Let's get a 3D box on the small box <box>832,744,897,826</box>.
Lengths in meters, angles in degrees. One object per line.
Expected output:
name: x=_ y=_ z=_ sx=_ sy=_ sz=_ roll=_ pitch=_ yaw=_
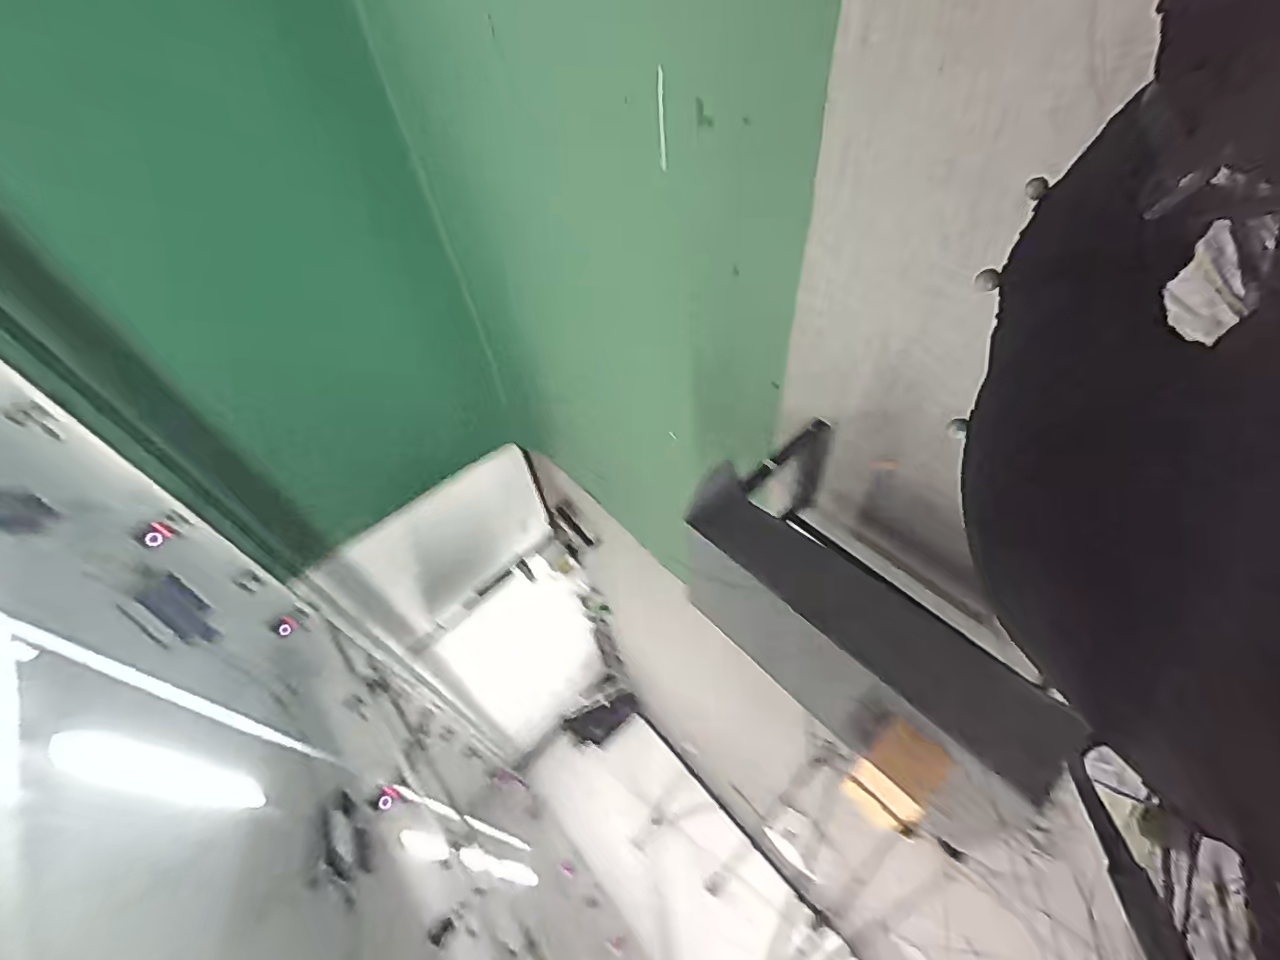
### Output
small box: x=0.731 y=0.925 z=1.671 sx=0.168 sy=0.176 sz=0.179 roll=41 pitch=154 yaw=30

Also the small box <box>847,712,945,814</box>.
small box: x=0.708 y=0.779 z=1.497 sx=0.168 sy=0.176 sz=0.179 roll=39 pitch=154 yaw=33
